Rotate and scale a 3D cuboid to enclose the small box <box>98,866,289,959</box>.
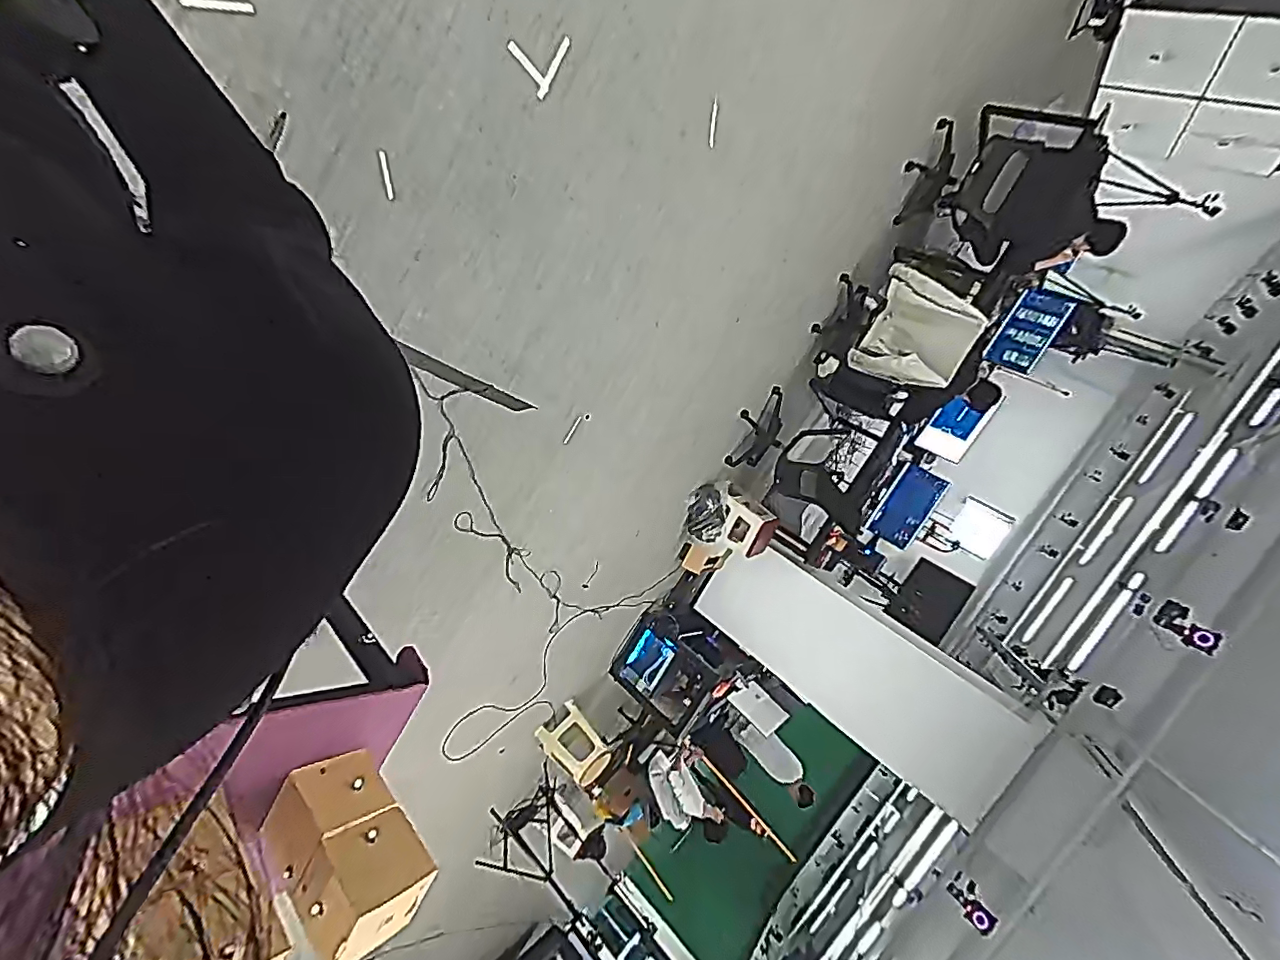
[{"bbox_3d":[-0.692,0.748,0.827,0.168,0.176,0.179,-60,149,6],"label":"small box"}]

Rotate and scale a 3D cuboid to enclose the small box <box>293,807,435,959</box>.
[{"bbox_3d":[-0.558,0.811,1.088,0.179,0.176,0.168,10,113,-58],"label":"small box"}]

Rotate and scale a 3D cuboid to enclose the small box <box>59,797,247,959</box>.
[{"bbox_3d":[-0.815,0.678,0.907,0.179,0.176,0.168,16,107,-59],"label":"small box"}]

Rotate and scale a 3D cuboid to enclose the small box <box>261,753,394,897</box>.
[{"bbox_3d":[-0.675,0.722,1.162,0.168,0.176,0.179,13,110,-59],"label":"small box"}]
